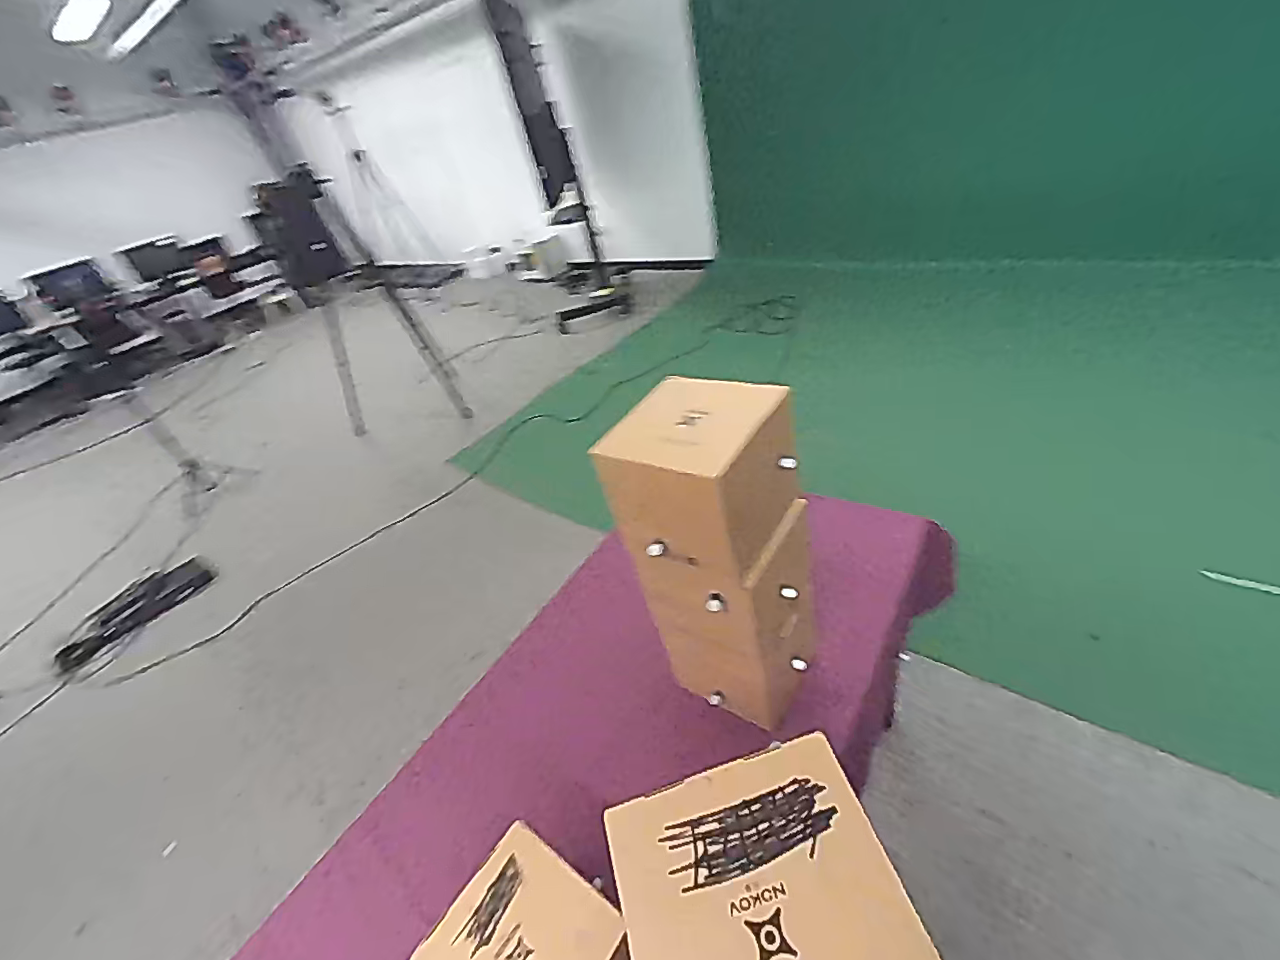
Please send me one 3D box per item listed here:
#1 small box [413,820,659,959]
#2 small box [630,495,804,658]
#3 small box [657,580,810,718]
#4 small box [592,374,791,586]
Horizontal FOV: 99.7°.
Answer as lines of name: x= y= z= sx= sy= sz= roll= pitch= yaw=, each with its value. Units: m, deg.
small box: x=-0.103 y=0.524 z=0.585 sx=0.179 sy=0.176 sz=0.168 roll=17 pitch=48 yaw=35
small box: x=0.117 y=0.118 z=0.751 sx=0.179 sy=0.176 sz=0.168 roll=14 pitch=46 yaw=34
small box: x=0.156 y=0.243 z=0.853 sx=0.179 sy=0.176 sz=0.168 roll=15 pitch=47 yaw=34
small box: x=0.074 y=-0.007 z=0.654 sx=0.168 sy=0.176 sz=0.179 roll=13 pitch=47 yaw=35
